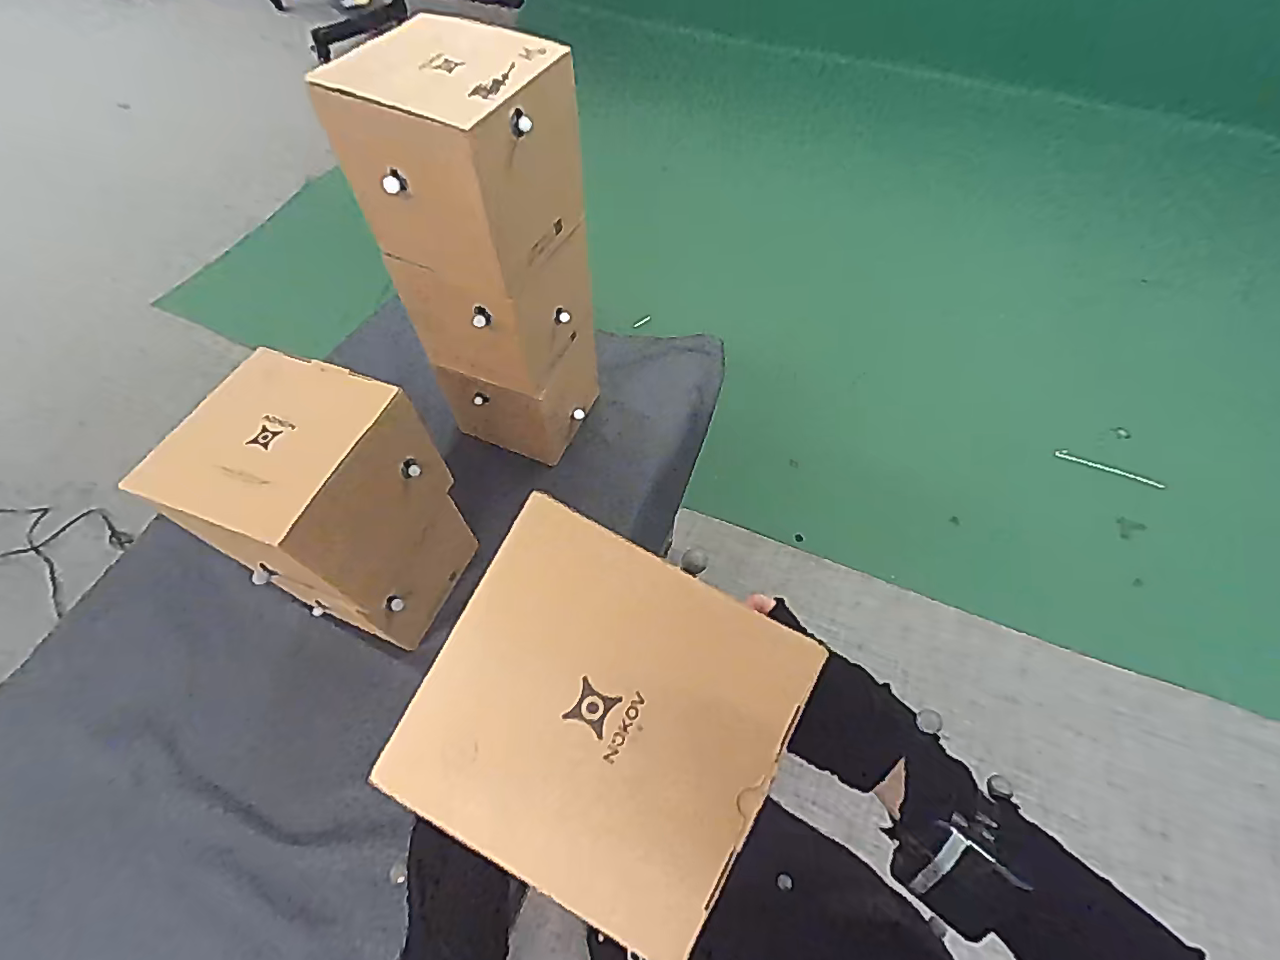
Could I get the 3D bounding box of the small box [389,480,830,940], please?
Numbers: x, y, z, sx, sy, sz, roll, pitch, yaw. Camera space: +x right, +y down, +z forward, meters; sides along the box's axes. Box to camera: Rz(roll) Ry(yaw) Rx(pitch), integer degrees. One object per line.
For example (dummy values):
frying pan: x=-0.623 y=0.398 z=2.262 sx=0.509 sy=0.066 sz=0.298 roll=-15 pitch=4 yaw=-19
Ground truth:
small box: x=-0.013 y=0.125 z=0.354 sx=0.179 sy=0.176 sz=0.168 roll=28 pitch=81 yaw=6

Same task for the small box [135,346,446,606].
small box: x=-0.321 y=0.000 z=0.549 sx=0.168 sy=0.176 sz=0.179 roll=17 pitch=60 yaw=11

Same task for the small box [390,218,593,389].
small box: x=-0.172 y=-0.243 z=0.697 sx=0.179 sy=0.176 sz=0.168 roll=22 pitch=61 yaw=13

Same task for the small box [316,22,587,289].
small box: x=-0.171 y=-0.326 z=0.555 sx=0.179 sy=0.176 sz=0.168 roll=23 pitch=62 yaw=14
